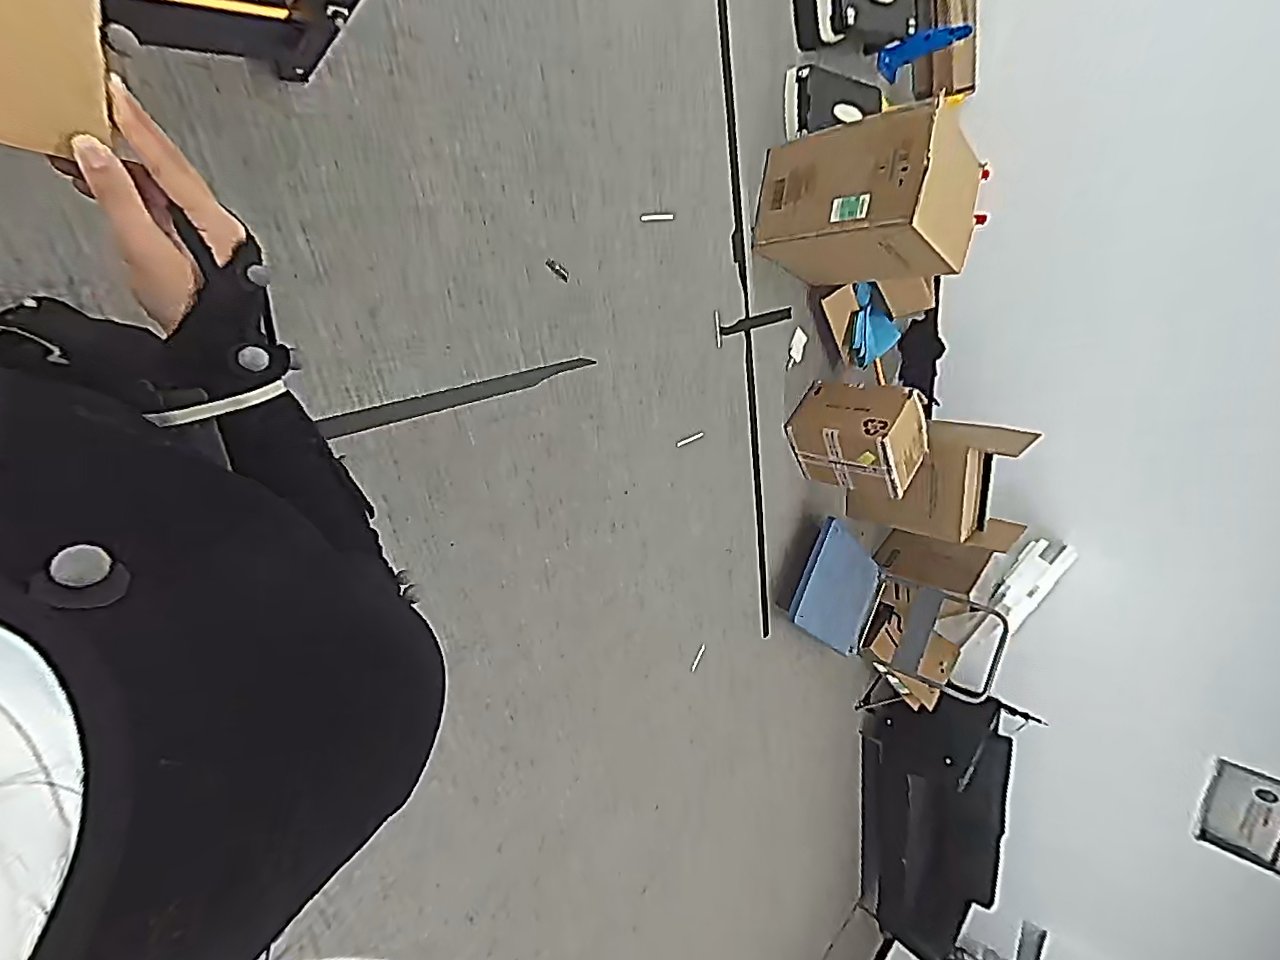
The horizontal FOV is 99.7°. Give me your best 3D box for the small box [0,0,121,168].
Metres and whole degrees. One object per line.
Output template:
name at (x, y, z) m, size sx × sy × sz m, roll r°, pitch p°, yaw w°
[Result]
small box at (-0.369, -0.274, 0.250) m, size 0.179 × 0.176 × 0.168 m, roll -4°, pitch 125°, yaw -42°
